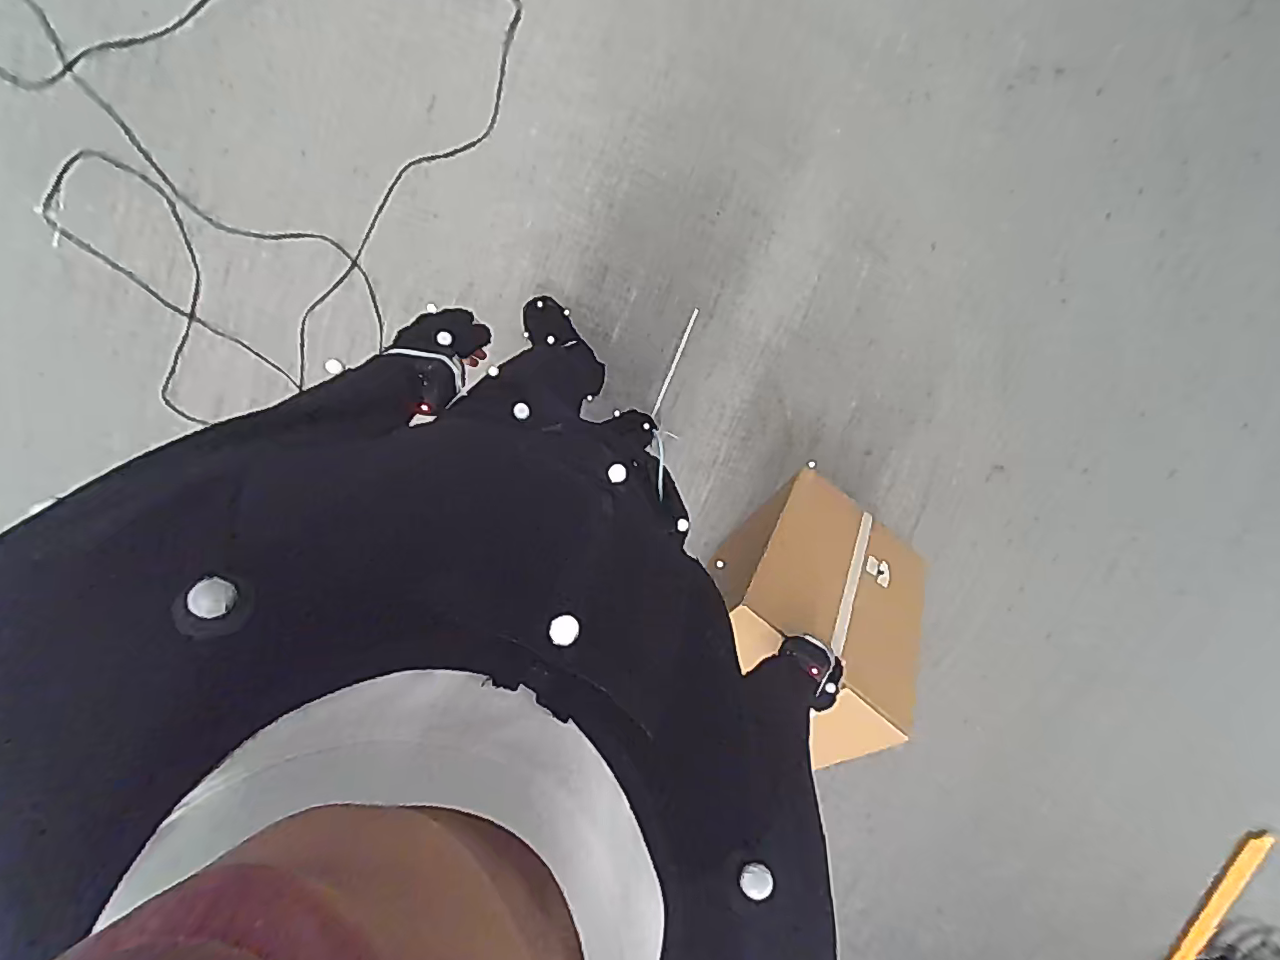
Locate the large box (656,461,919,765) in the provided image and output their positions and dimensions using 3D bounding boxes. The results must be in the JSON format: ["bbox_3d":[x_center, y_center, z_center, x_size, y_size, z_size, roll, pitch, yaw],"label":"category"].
[{"bbox_3d":[0.289,0.245,1.036,0.320,0.408,0.320,39,132,1],"label":"large box"}]
